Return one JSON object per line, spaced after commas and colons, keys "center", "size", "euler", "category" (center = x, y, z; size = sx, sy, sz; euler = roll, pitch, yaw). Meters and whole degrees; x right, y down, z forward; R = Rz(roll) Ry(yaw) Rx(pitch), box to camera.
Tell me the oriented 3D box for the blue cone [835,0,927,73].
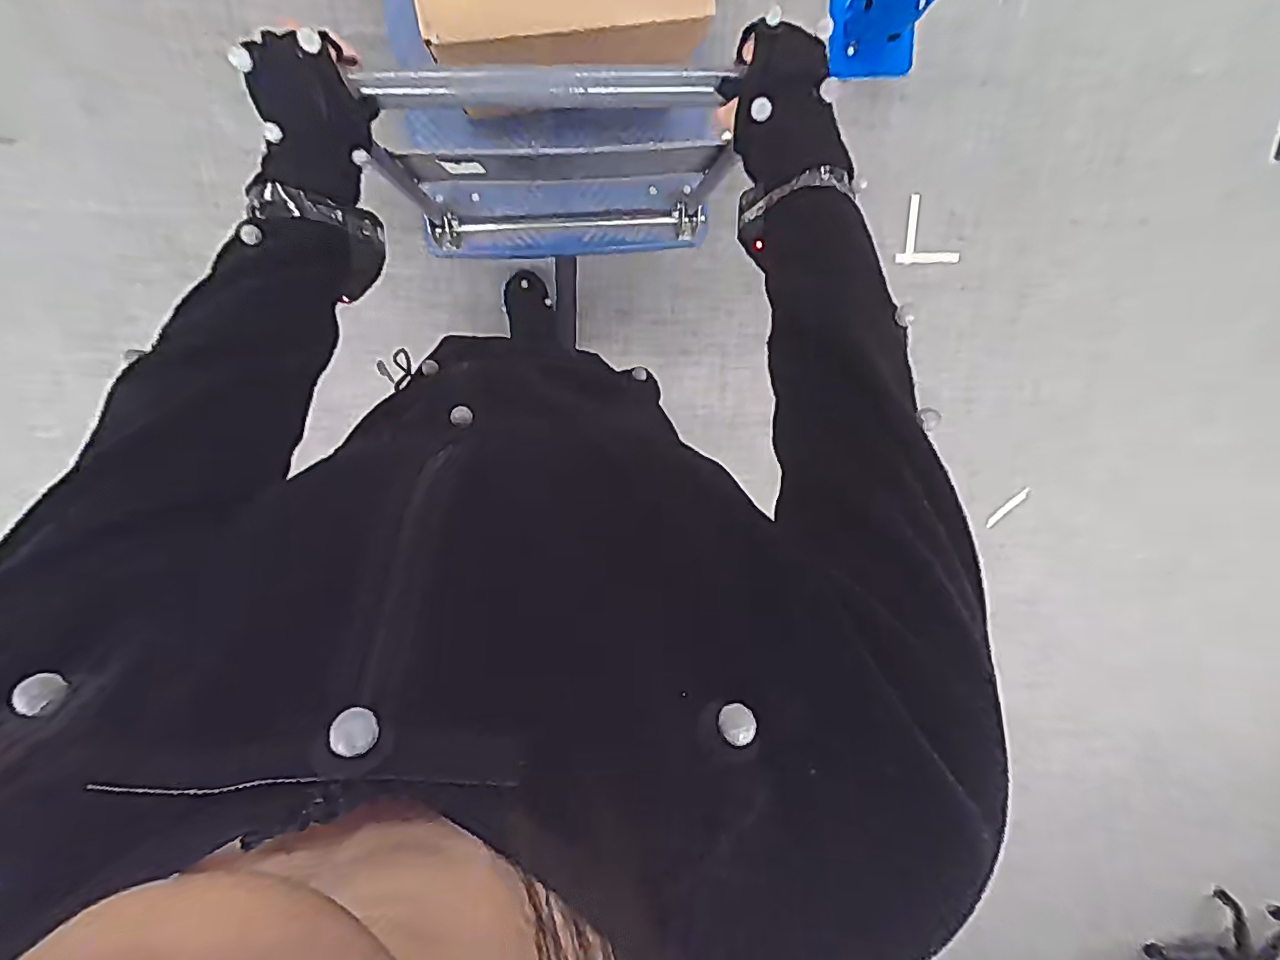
{"center": [0.544, -0.971, 1.046], "size": [0.193, 0.380, 0.192], "euler": [-5, 107, -6], "category": "blue cone"}
